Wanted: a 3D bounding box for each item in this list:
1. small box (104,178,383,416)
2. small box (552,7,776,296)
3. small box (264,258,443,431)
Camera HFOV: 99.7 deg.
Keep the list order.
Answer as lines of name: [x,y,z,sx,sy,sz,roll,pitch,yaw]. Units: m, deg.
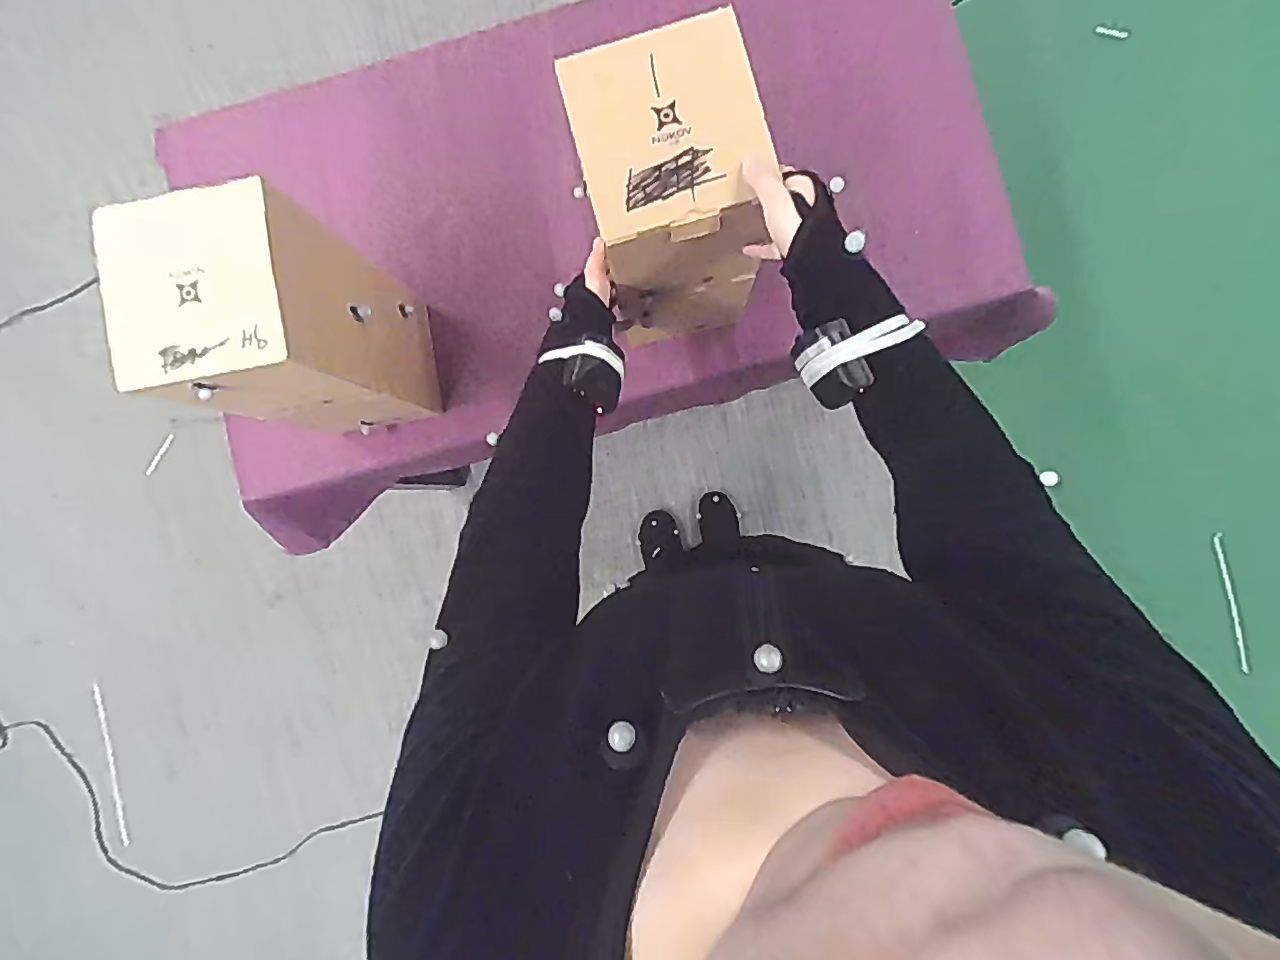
small box: [-0.402,-0.177,0.576,0.168,0.176,0.179,-10,87,5]
small box: [0.027,-0.309,0.554,0.168,0.176,0.179,-15,86,3]
small box: [-0.392,-0.173,0.741,0.168,0.176,0.179,-10,89,4]
